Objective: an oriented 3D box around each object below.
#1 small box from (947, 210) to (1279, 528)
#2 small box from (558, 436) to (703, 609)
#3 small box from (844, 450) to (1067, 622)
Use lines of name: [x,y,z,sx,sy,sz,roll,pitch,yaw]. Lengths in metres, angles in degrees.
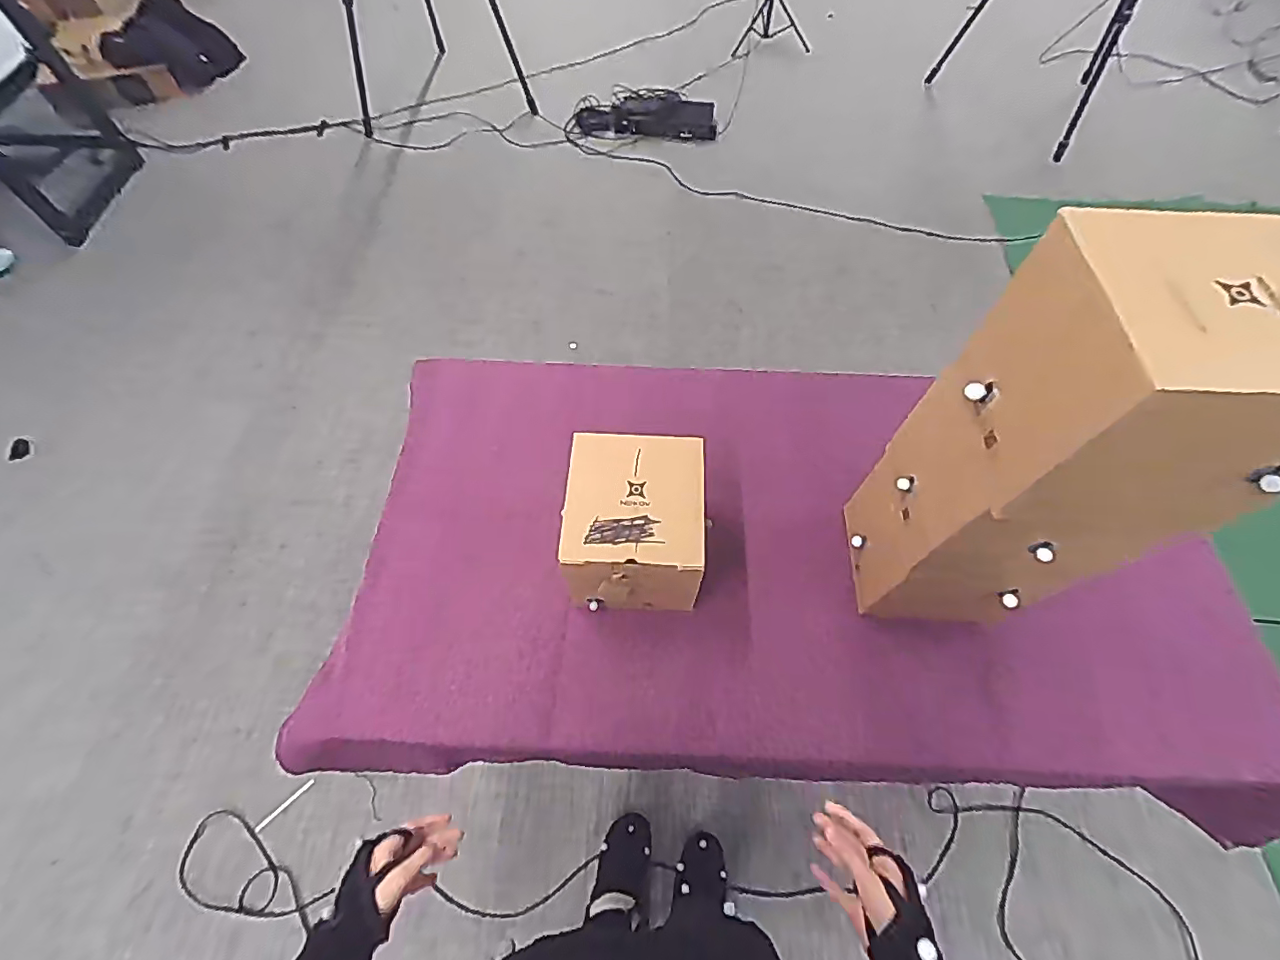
small box: [0.373,-0.072,0.408,0.179,0.176,0.168,3,60,2]
small box: [-0.006,0.063,0.709,0.168,0.176,0.179,2,60,1]
small box: [0.387,0.079,0.699,0.179,0.176,0.168,3,60,2]
